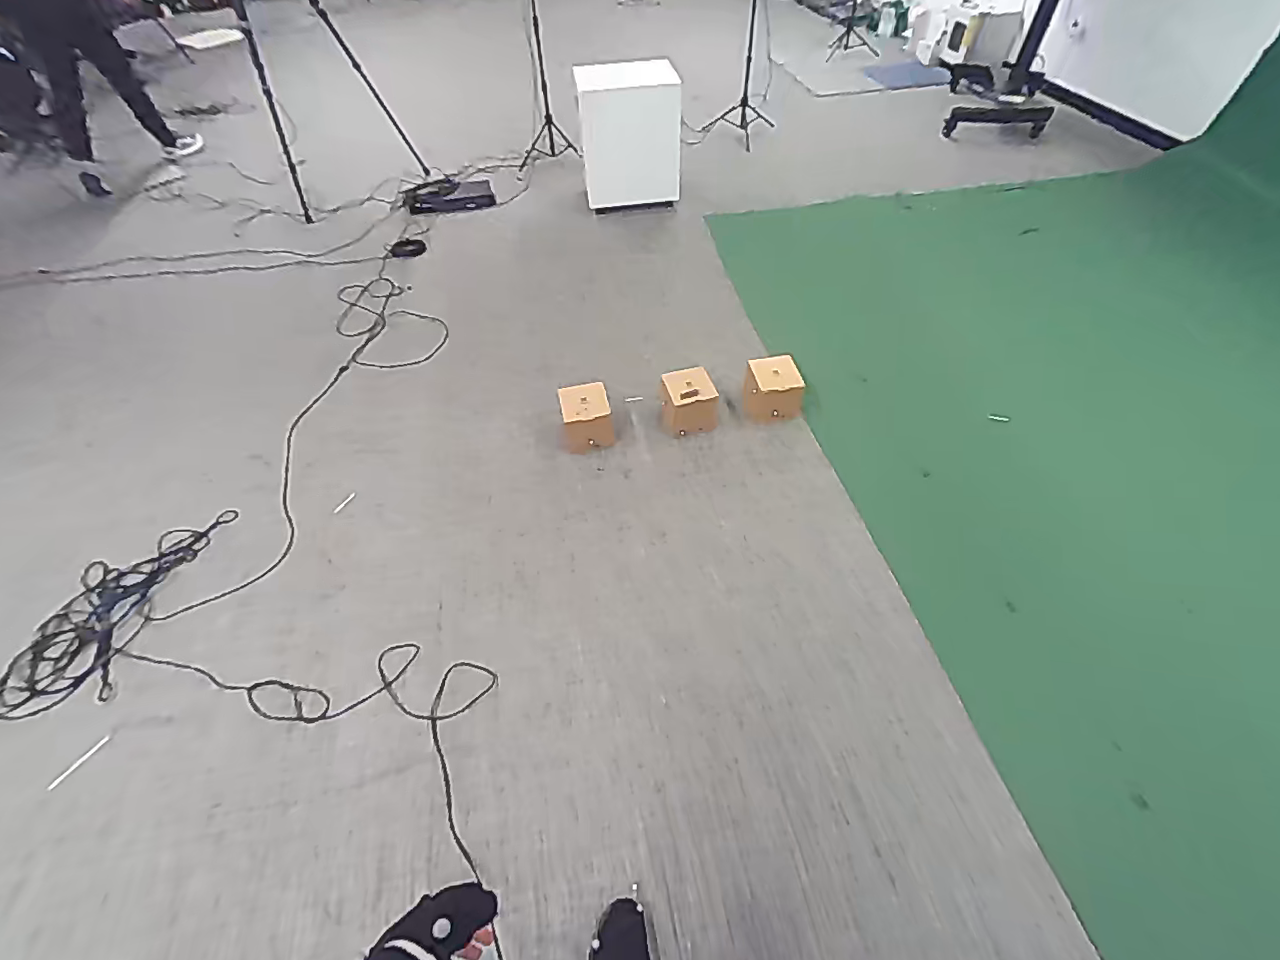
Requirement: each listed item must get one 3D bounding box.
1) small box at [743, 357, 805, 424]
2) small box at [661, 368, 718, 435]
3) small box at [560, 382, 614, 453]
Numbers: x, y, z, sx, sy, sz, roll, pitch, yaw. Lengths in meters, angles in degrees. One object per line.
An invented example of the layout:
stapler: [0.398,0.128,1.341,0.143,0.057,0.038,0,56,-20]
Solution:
small box: [0.495,-0.334,2.031,0.168,0.176,0.179,-9,52,-5]
small box: [0.177,-0.283,1.994,0.168,0.176,0.179,-12,52,-9]
small box: [-0.190,-0.224,1.950,0.168,0.176,0.179,-11,53,-6]
